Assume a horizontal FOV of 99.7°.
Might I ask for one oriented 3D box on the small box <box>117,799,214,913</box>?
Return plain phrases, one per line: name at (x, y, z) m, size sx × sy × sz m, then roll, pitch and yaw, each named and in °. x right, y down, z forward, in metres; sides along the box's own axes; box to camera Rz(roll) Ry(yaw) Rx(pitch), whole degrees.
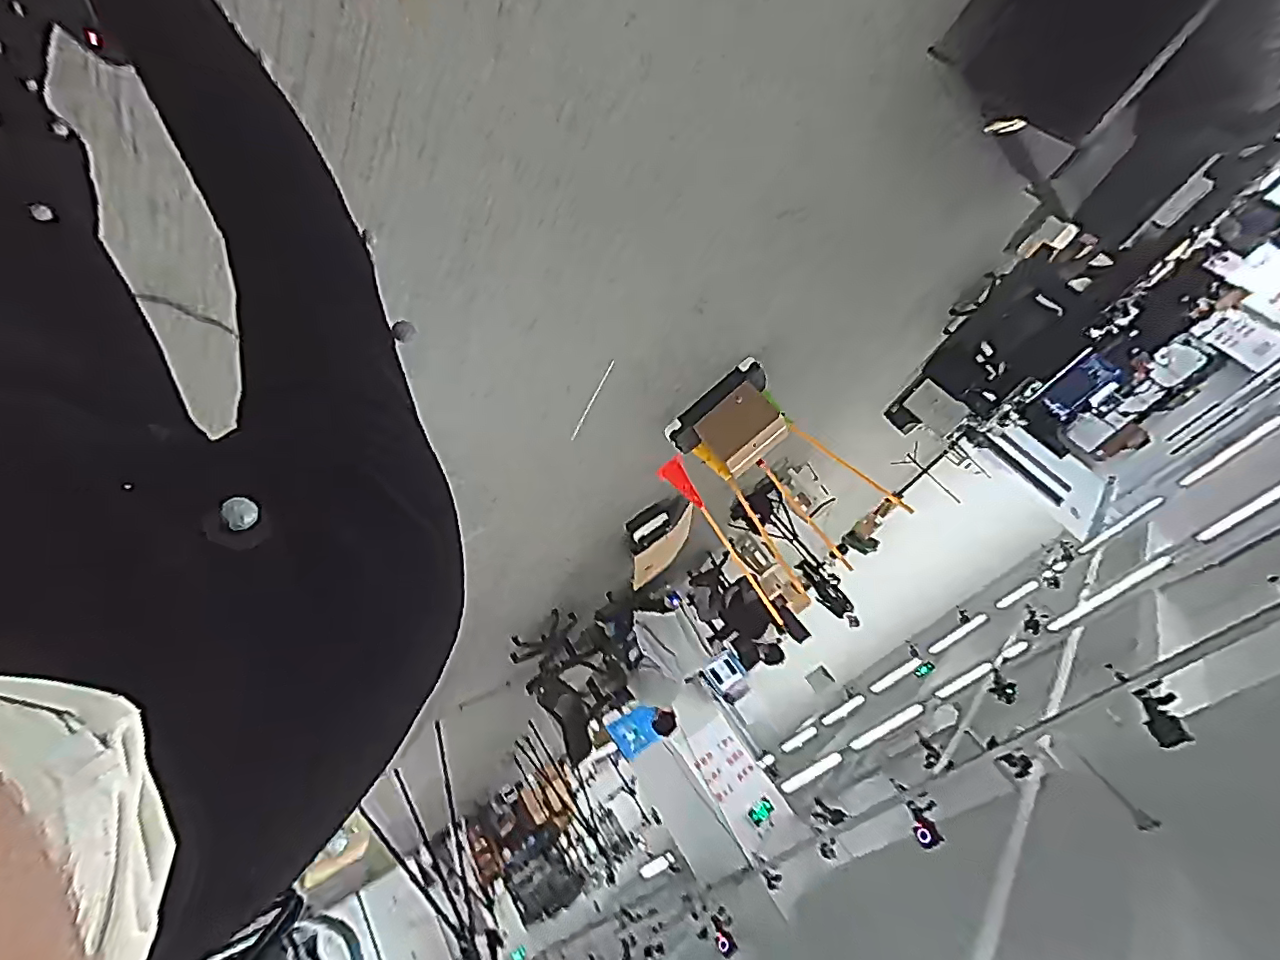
small box at (-1.251, 0.984, 1.430) m, size 0.168 × 0.176 × 0.179 m, roll -12°, pitch 145°, yaw -45°
